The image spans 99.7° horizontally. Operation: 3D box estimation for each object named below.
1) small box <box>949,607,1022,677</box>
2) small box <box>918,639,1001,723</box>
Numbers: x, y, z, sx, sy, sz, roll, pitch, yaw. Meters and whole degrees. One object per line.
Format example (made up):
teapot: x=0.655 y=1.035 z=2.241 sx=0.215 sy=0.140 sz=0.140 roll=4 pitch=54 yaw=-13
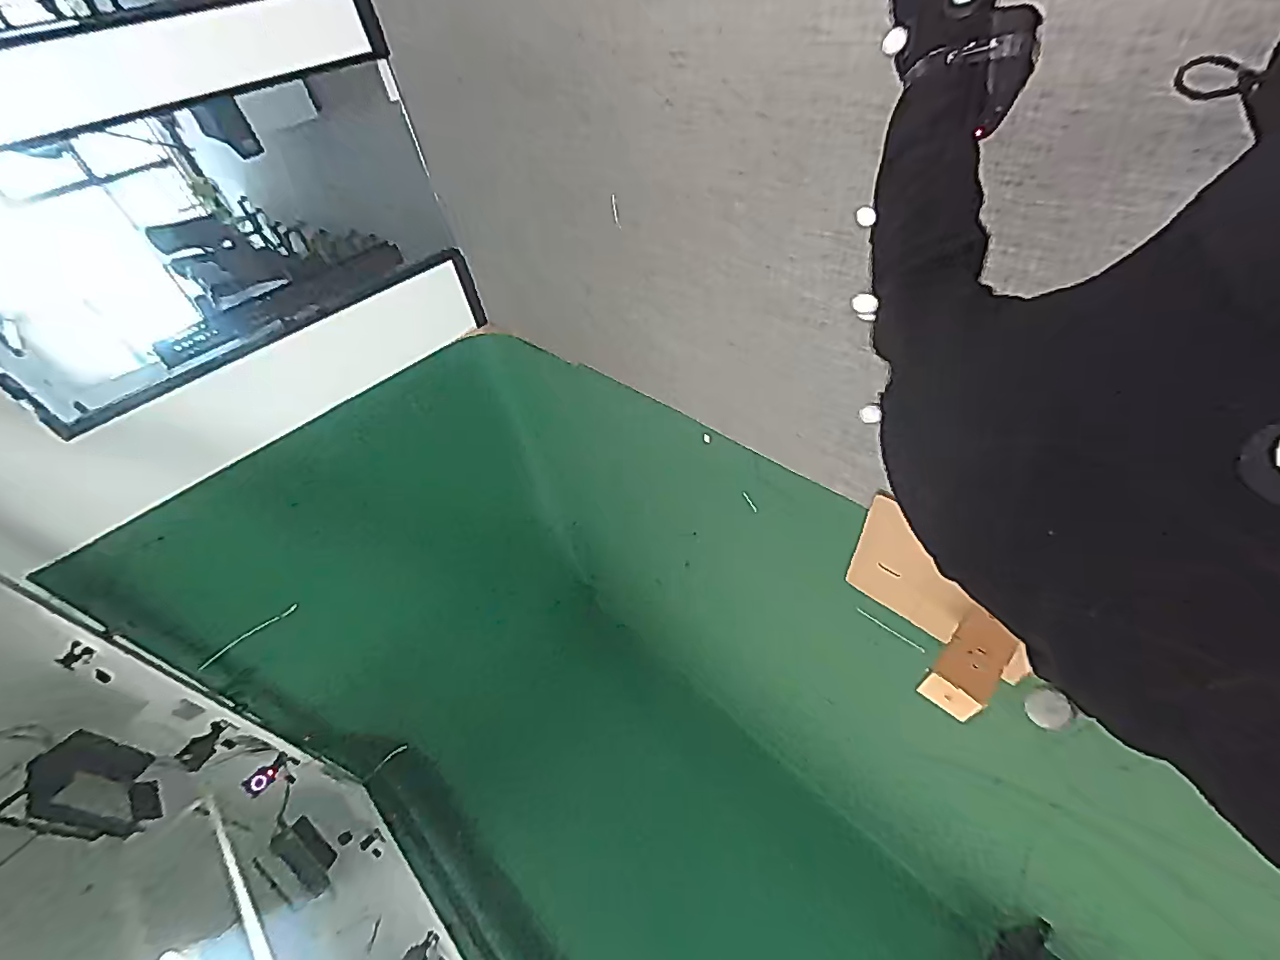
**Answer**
small box: x=1.202 y=0.581 z=1.896 sx=0.168 sy=0.176 sz=0.179 roll=33 pitch=150 yaw=30
small box: x=1.087 y=0.680 z=1.837 sx=0.168 sy=0.176 sz=0.179 roll=35 pitch=150 yaw=29
